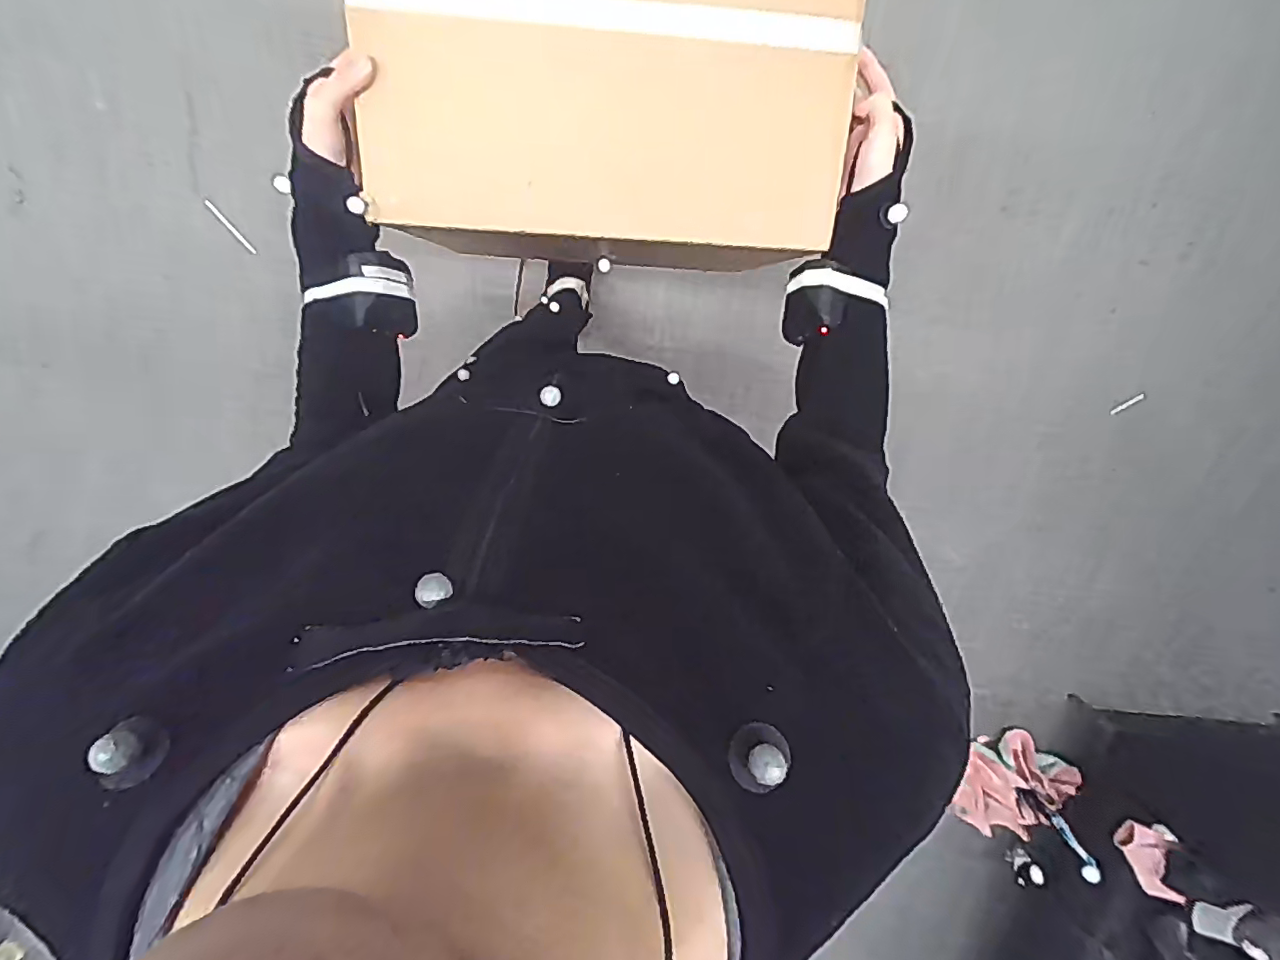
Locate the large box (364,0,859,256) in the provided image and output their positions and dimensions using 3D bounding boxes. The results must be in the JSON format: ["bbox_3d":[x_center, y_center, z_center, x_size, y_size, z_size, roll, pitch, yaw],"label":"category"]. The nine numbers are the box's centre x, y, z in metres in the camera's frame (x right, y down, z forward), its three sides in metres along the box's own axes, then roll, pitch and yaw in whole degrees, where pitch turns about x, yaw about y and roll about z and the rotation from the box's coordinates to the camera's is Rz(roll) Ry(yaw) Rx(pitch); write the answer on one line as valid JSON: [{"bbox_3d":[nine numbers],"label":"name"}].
[{"bbox_3d":[-0.027,-0.419,0.577,0.408,0.320,0.320,2,107,-4],"label":"large box"}]
